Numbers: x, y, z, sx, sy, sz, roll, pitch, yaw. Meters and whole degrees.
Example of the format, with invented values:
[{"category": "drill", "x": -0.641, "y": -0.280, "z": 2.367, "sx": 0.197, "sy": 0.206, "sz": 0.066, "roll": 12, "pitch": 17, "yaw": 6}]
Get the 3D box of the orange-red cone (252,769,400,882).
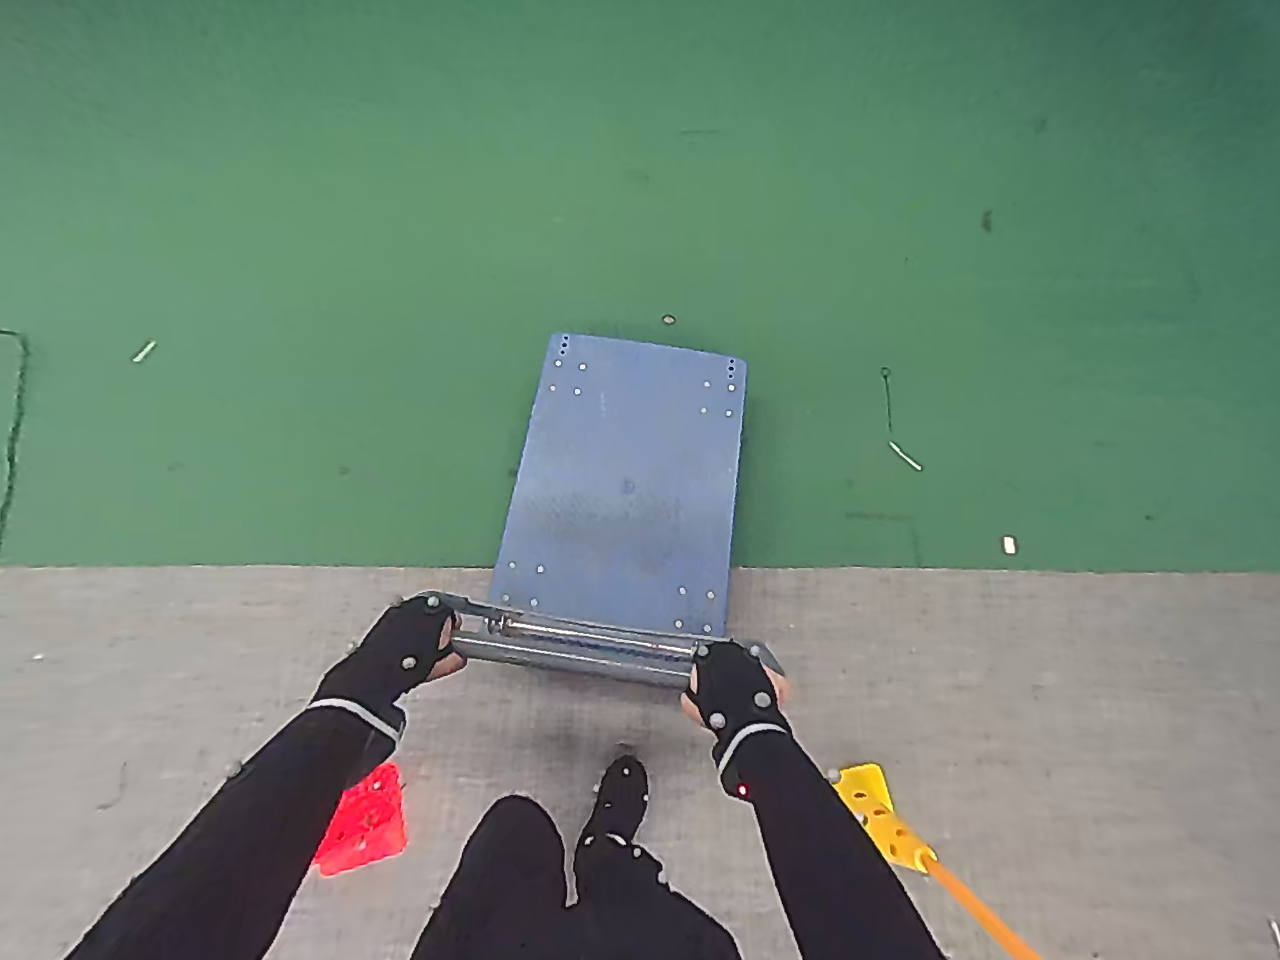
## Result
[{"category": "orange-red cone", "x": -0.668, "y": 0.747, "z": 1.113, "sx": 0.199, "sy": 0.360, "sz": 0.198, "roll": -14, "pitch": 70, "yaw": -5}]
